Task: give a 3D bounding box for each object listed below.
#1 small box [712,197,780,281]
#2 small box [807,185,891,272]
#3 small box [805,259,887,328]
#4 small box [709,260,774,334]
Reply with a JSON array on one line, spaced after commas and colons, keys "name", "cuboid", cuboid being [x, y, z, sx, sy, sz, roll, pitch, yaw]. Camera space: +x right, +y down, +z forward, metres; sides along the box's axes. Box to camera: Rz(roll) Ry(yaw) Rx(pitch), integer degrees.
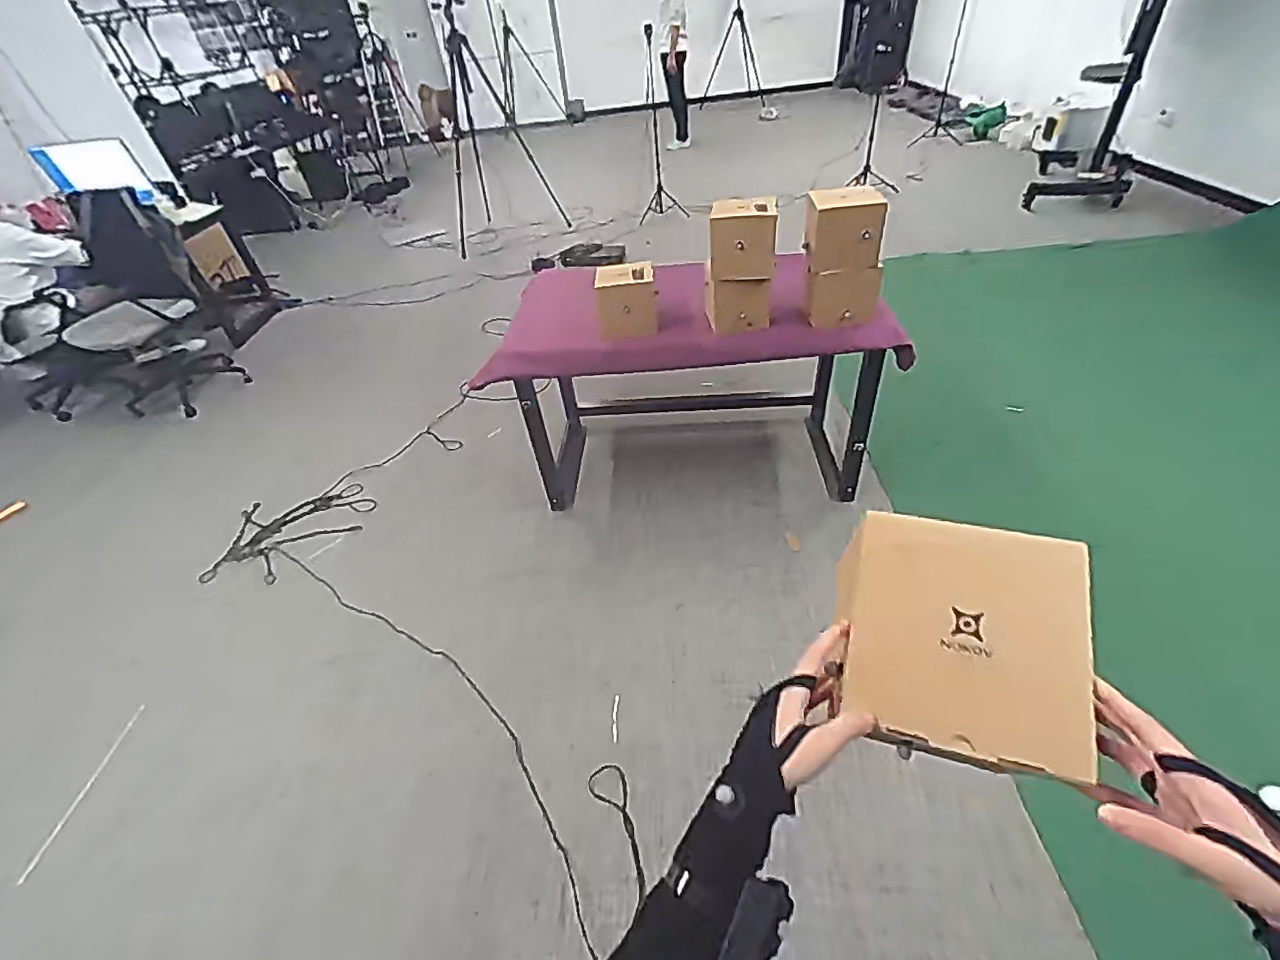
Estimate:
[{"name": "small box", "cuboid": [0.298, -0.670, 1.511, 0.179, 0.176, 0.168, 2, 42, 13]}, {"name": "small box", "cuboid": [0.565, -0.689, 1.486, 0.179, 0.176, 0.168, -3, 42, 8]}, {"name": "small box", "cuboid": [0.596, -0.563, 1.587, 0.179, 0.176, 0.168, -6, 42, 4]}, {"name": "small box", "cuboid": [0.302, -0.563, 1.638, 0.168, 0.176, 0.179, -8, 41, 2]}]
